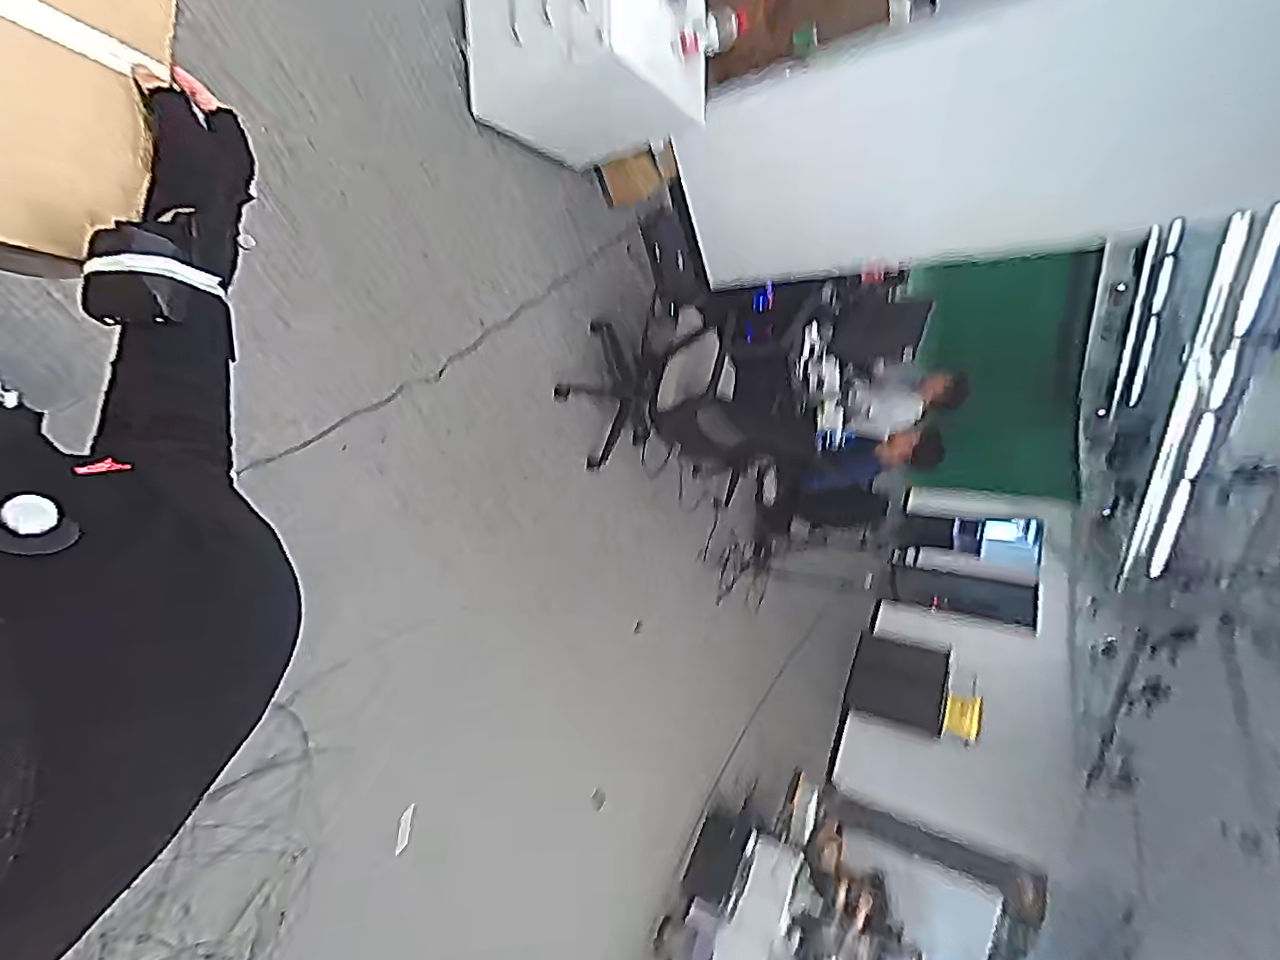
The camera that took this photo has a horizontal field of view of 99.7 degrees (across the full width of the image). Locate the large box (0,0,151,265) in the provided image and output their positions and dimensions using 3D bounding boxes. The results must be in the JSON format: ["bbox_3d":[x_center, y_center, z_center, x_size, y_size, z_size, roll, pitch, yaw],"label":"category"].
[{"bbox_3d":[-0.631,-0.354,0.346,0.408,0.320,0.320,-2,104,-59],"label":"large box"}]
